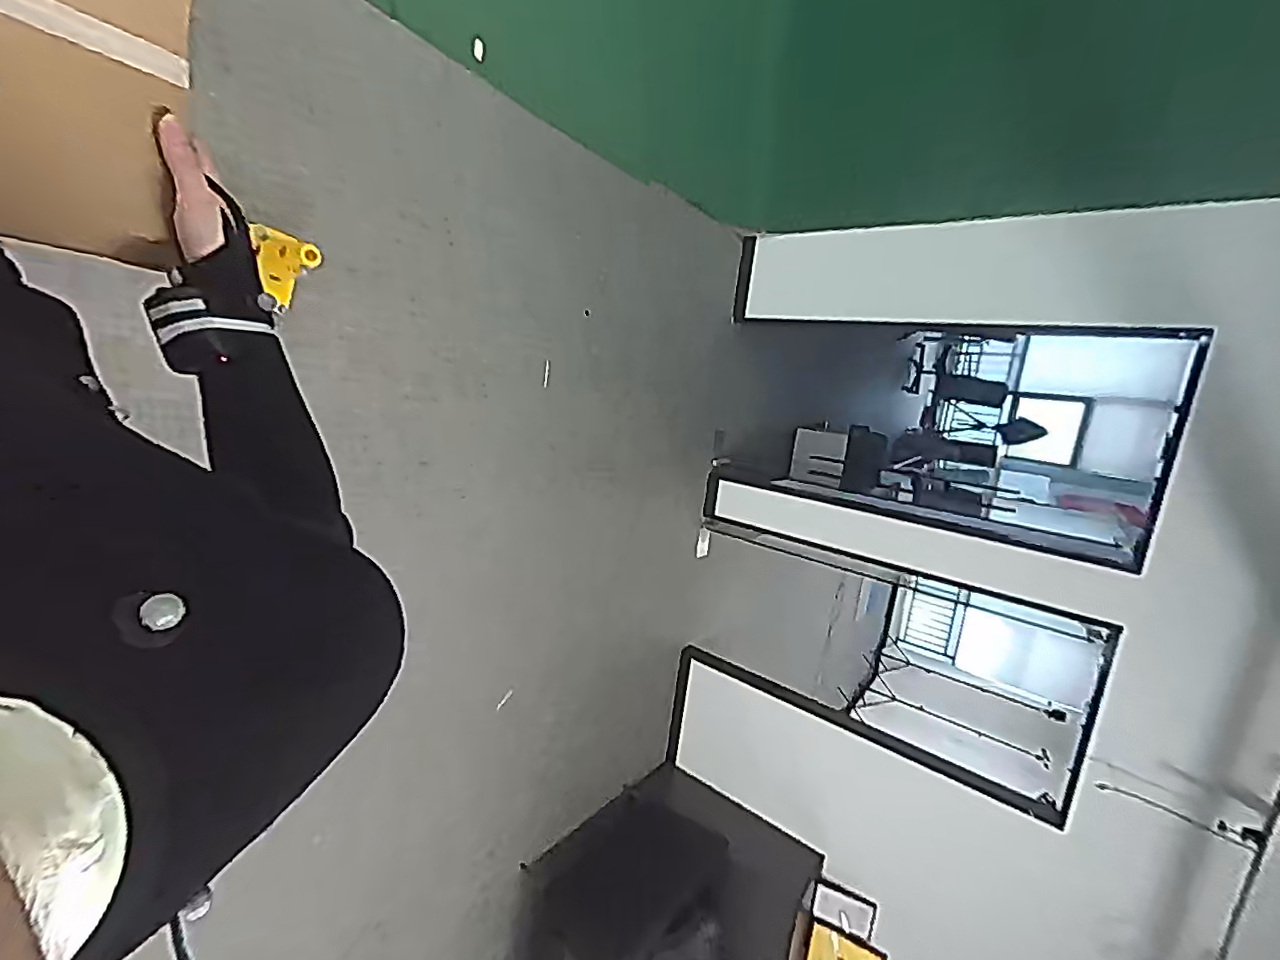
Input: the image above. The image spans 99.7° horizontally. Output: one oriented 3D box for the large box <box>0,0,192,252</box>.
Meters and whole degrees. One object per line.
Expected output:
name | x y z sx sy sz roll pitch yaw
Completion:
large box | -0.606 -0.389 0.370 0.408 0.320 0.320 -6 120 -53
